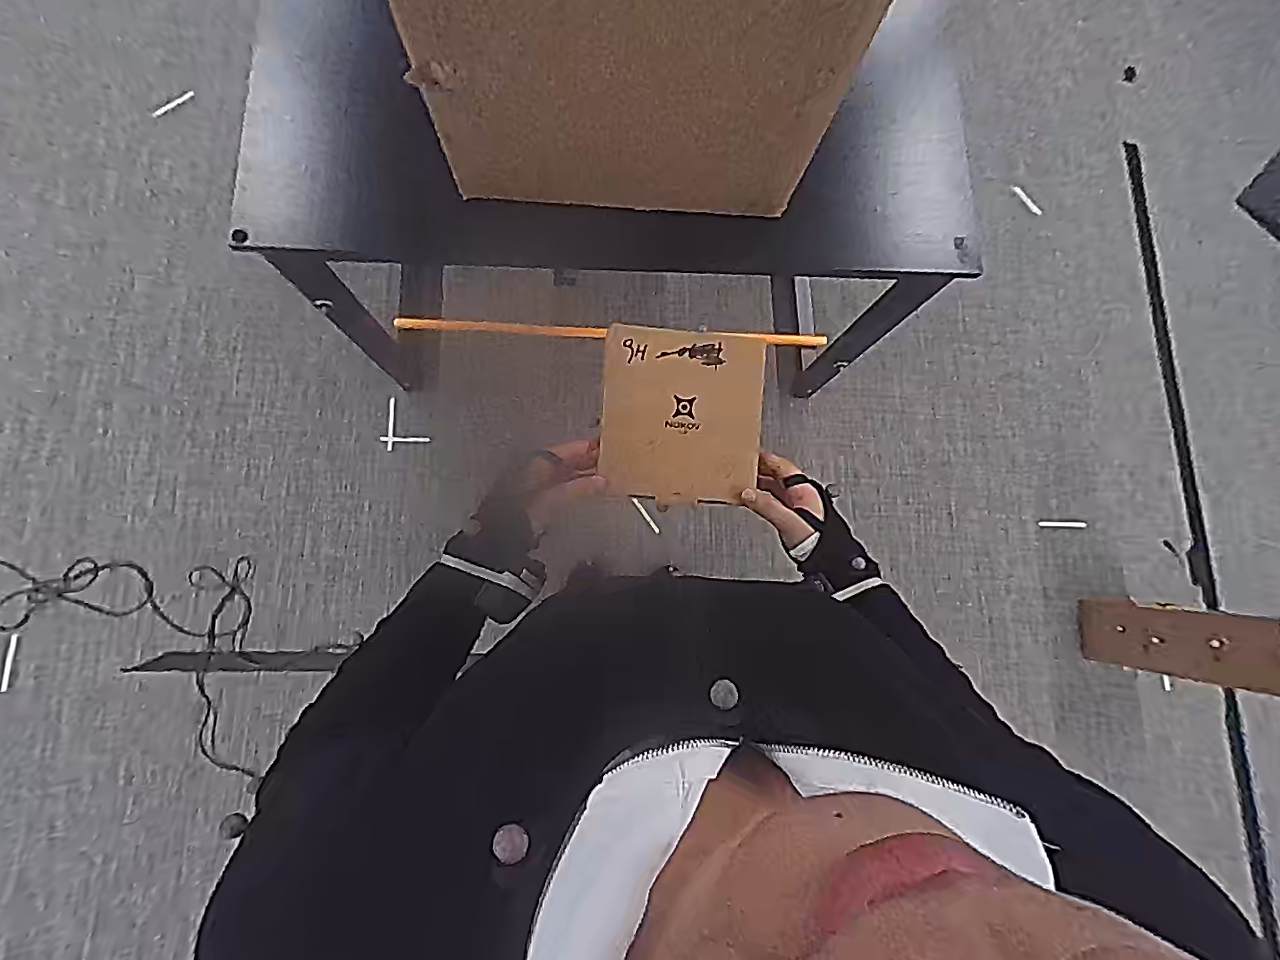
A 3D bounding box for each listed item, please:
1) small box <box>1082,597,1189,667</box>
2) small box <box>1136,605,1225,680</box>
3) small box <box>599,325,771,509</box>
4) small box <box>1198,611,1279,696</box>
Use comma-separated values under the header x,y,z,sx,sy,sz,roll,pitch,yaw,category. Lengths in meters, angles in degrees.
x,y,z,sx,sy,sz,roll,pitch,yaw,category
1.385,0.423,1.515,0.168,0.176,0.179,4,81,-4,small box
1.403,0.405,1.352,0.179,0.176,0.168,4,81,-4,small box
0.040,-0.065,0.628,0.168,0.176,0.179,4,91,-6,small box
1.402,0.380,1.190,0.179,0.176,0.168,4,80,-3,small box
